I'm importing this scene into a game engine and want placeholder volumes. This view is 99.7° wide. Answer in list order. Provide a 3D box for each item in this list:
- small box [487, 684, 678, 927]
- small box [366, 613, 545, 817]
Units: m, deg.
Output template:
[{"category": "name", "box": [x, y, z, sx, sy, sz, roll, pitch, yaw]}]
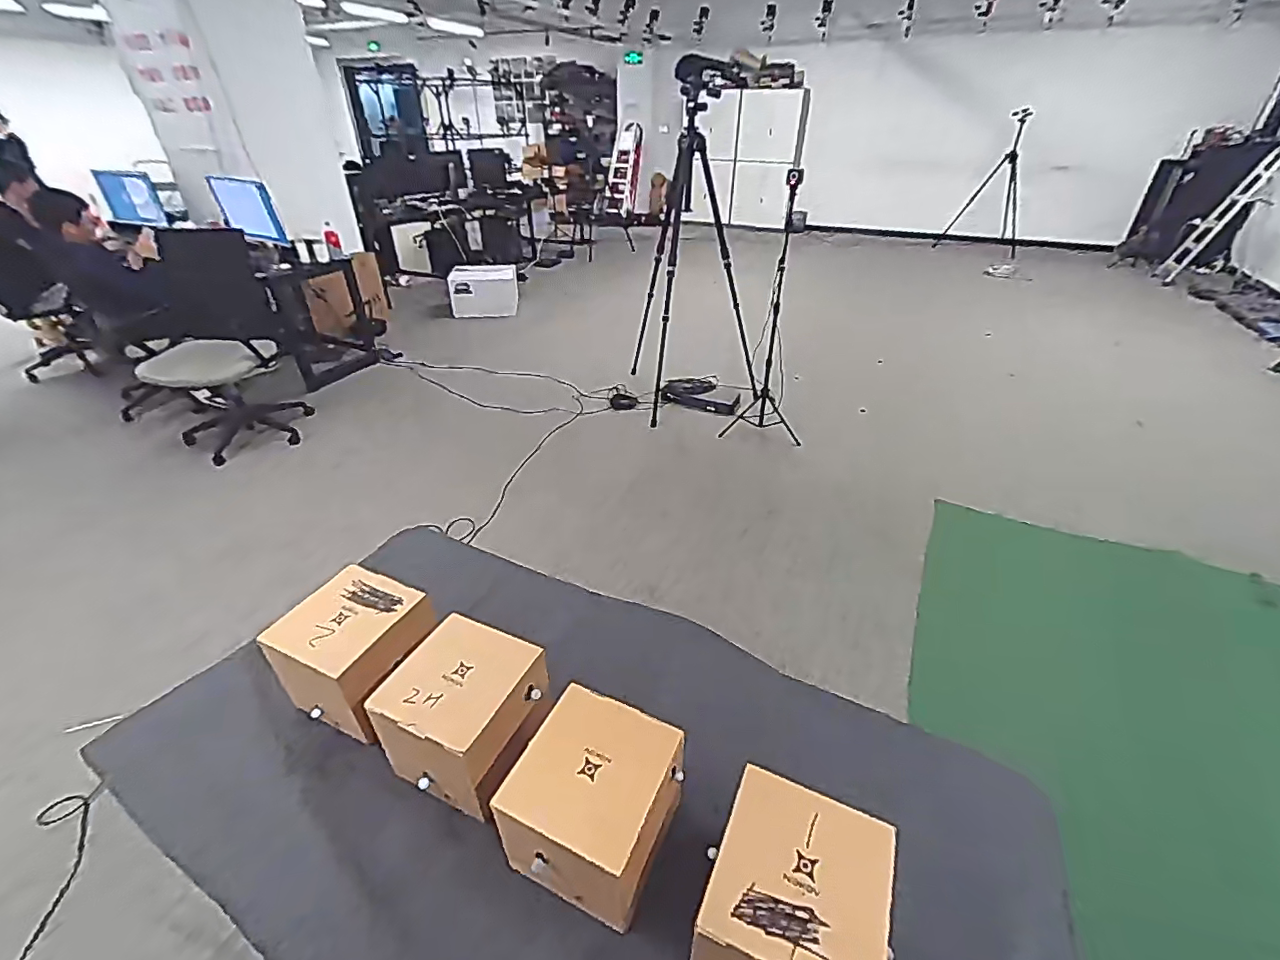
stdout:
[{"category": "small box", "box": [-0.060, 0.401, 0.676, 0.168, 0.176, 0.179, 15, 36, 21]}, {"category": "small box", "box": [-0.249, 0.331, 0.775, 0.168, 0.176, 0.179, 14, 36, 20]}]
